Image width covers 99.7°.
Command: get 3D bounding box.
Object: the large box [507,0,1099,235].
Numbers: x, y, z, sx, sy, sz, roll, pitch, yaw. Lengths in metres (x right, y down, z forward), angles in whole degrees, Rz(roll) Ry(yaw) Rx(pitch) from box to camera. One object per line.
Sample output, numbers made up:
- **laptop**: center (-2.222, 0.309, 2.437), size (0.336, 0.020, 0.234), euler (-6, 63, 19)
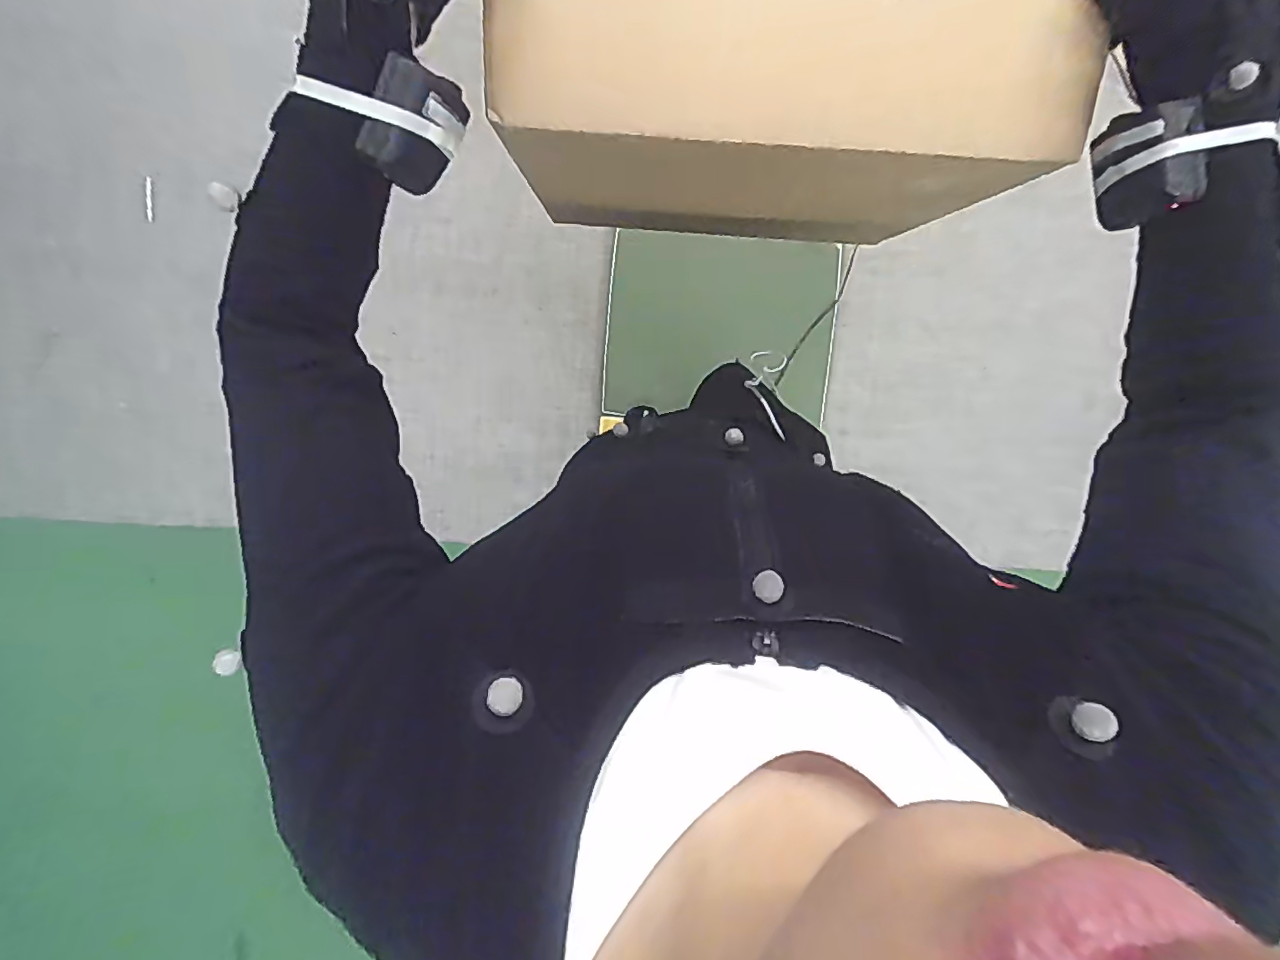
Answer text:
- **large box**: center (0.106, -0.422, 0.486), size (0.408, 0.320, 0.320), euler (2, 104, -3)
